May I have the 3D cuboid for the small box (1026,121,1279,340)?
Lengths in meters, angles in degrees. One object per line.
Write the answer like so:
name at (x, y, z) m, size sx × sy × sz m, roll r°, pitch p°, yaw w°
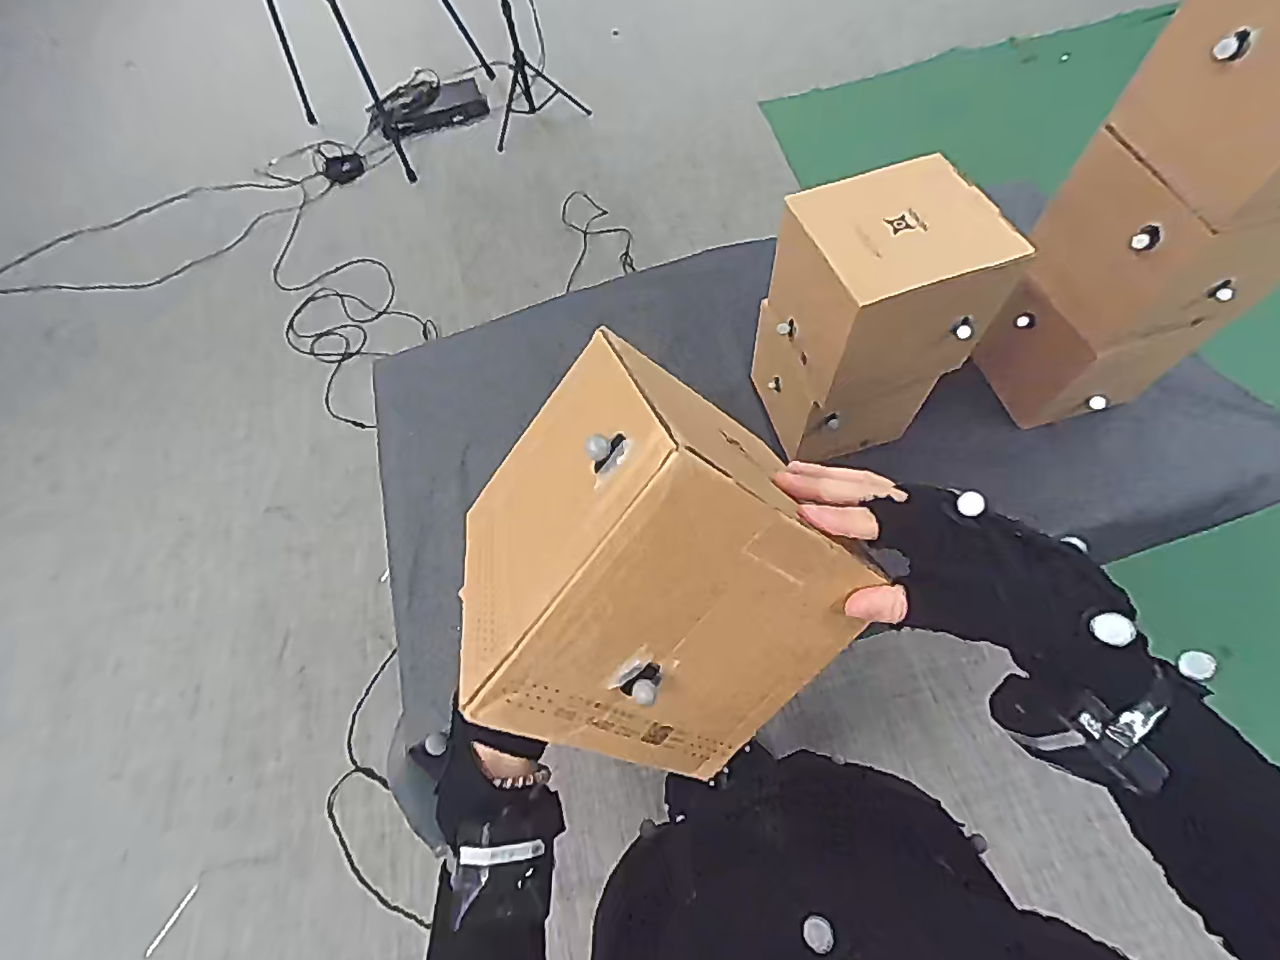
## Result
small box at (0.577, -0.274, 0.591) m, size 0.168 × 0.176 × 0.179 m, roll -13°, pitch 63°, yaw -1°

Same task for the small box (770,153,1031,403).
small box at (0.262, -0.213, 0.595) m, size 0.179 × 0.176 × 0.168 m, roll -17°, pitch 62°, yaw -3°

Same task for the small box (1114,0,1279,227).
small box at (0.560, -0.345, 0.444) m, size 0.168 × 0.176 × 0.179 m, roll -12°, pitch 63°, yaw 1°
